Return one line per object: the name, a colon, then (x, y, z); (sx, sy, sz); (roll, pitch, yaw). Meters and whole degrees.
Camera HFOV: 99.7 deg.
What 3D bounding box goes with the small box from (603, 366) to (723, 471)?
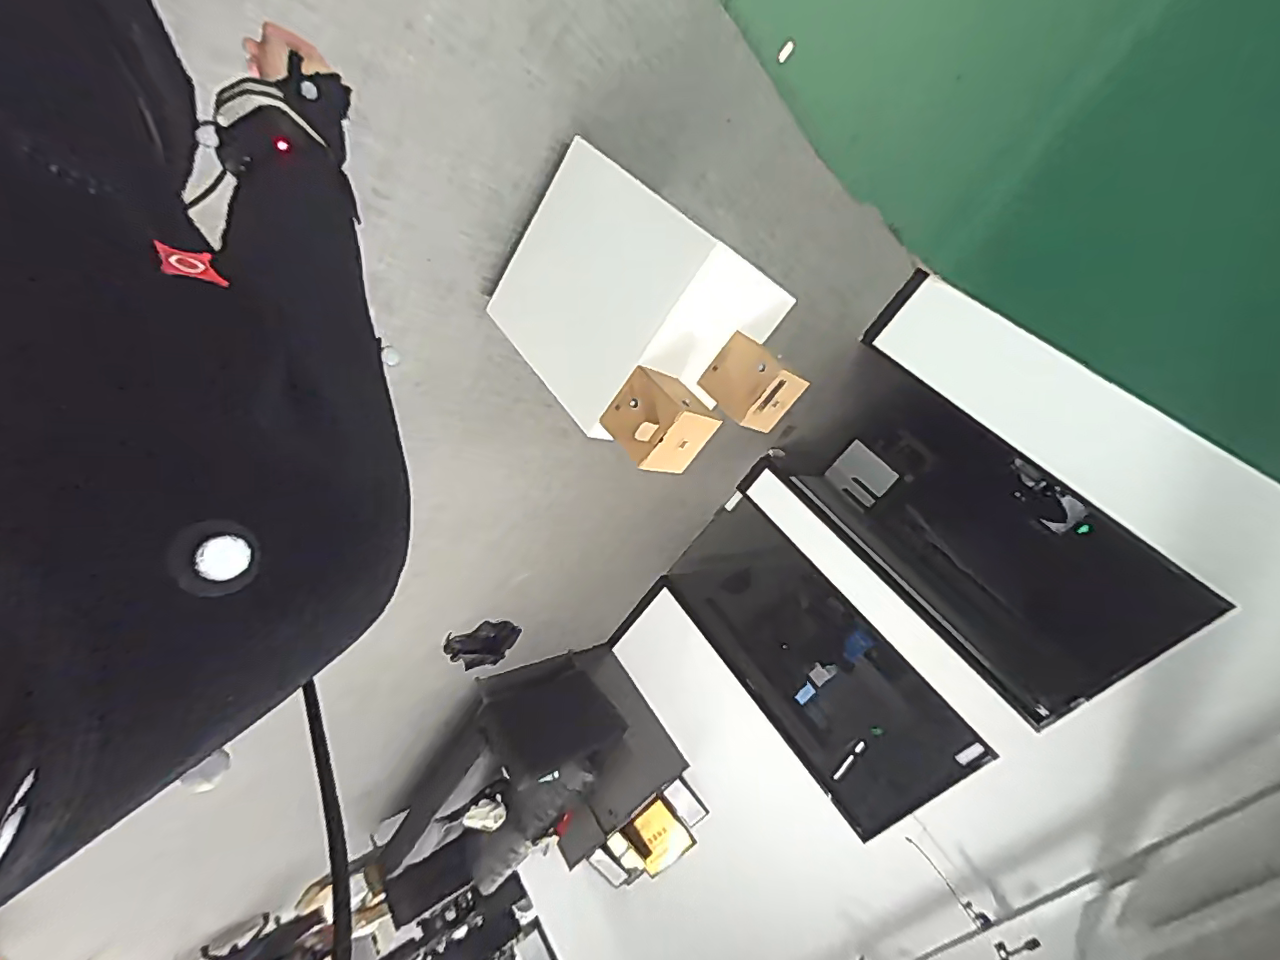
small box: (0.050, -0.139, 1.242); (0.179, 0.176, 0.168); (4, 130, -53)
